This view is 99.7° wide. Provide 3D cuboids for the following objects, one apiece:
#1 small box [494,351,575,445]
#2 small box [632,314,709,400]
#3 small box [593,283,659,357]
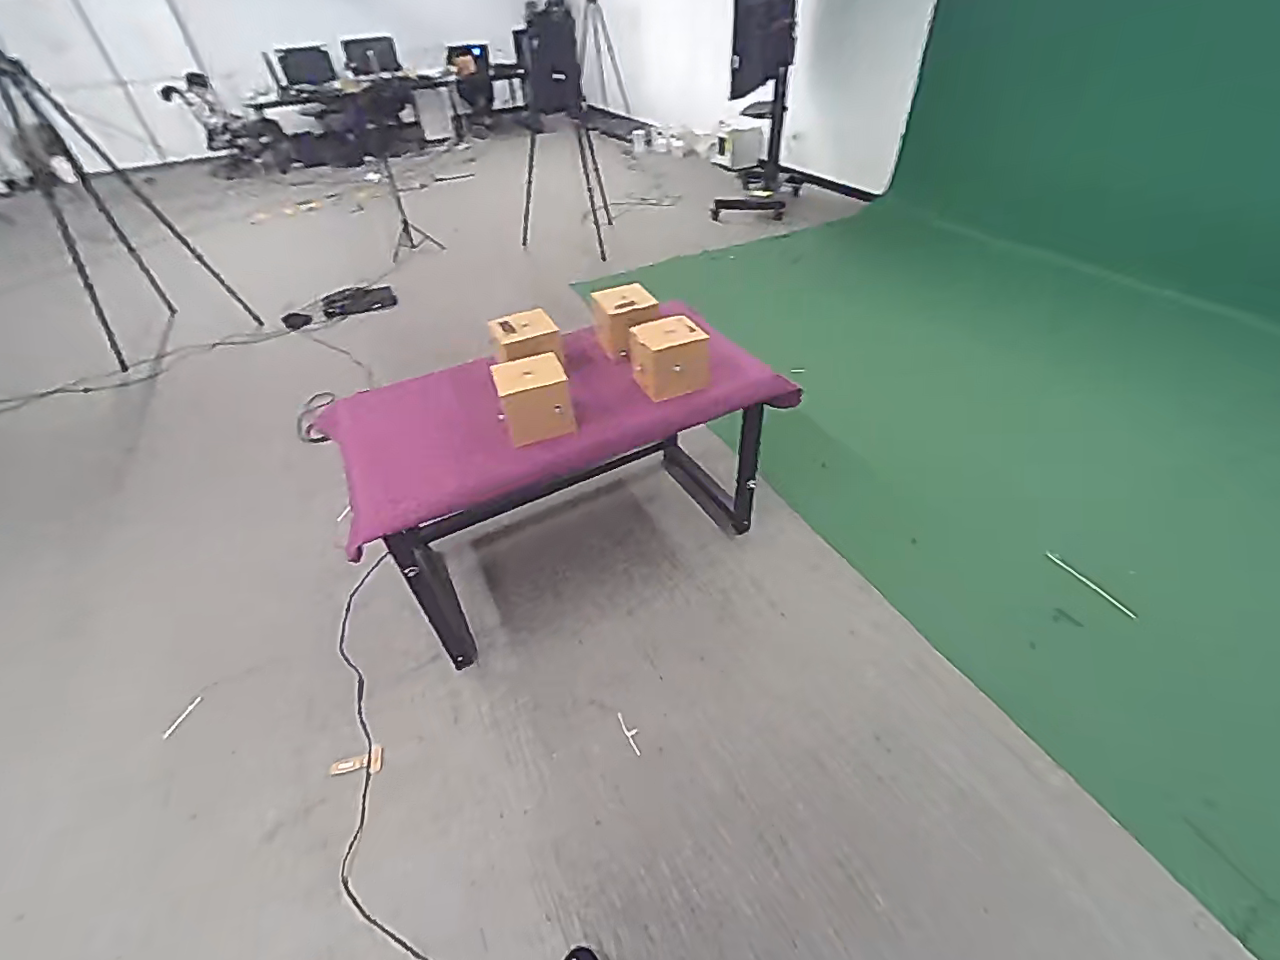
[{"bbox_3d":[-0.279,-0.221,1.458,0.179,0.176,0.168,-16,43,-12],"label":"small box"},{"bbox_3d":[0.091,-0.355,1.572,0.179,0.176,0.168,-19,44,-14],"label":"small box"},{"bbox_3d":[-0.040,-0.512,1.752,0.168,0.176,0.179,-17,44,-14],"label":"small box"}]
